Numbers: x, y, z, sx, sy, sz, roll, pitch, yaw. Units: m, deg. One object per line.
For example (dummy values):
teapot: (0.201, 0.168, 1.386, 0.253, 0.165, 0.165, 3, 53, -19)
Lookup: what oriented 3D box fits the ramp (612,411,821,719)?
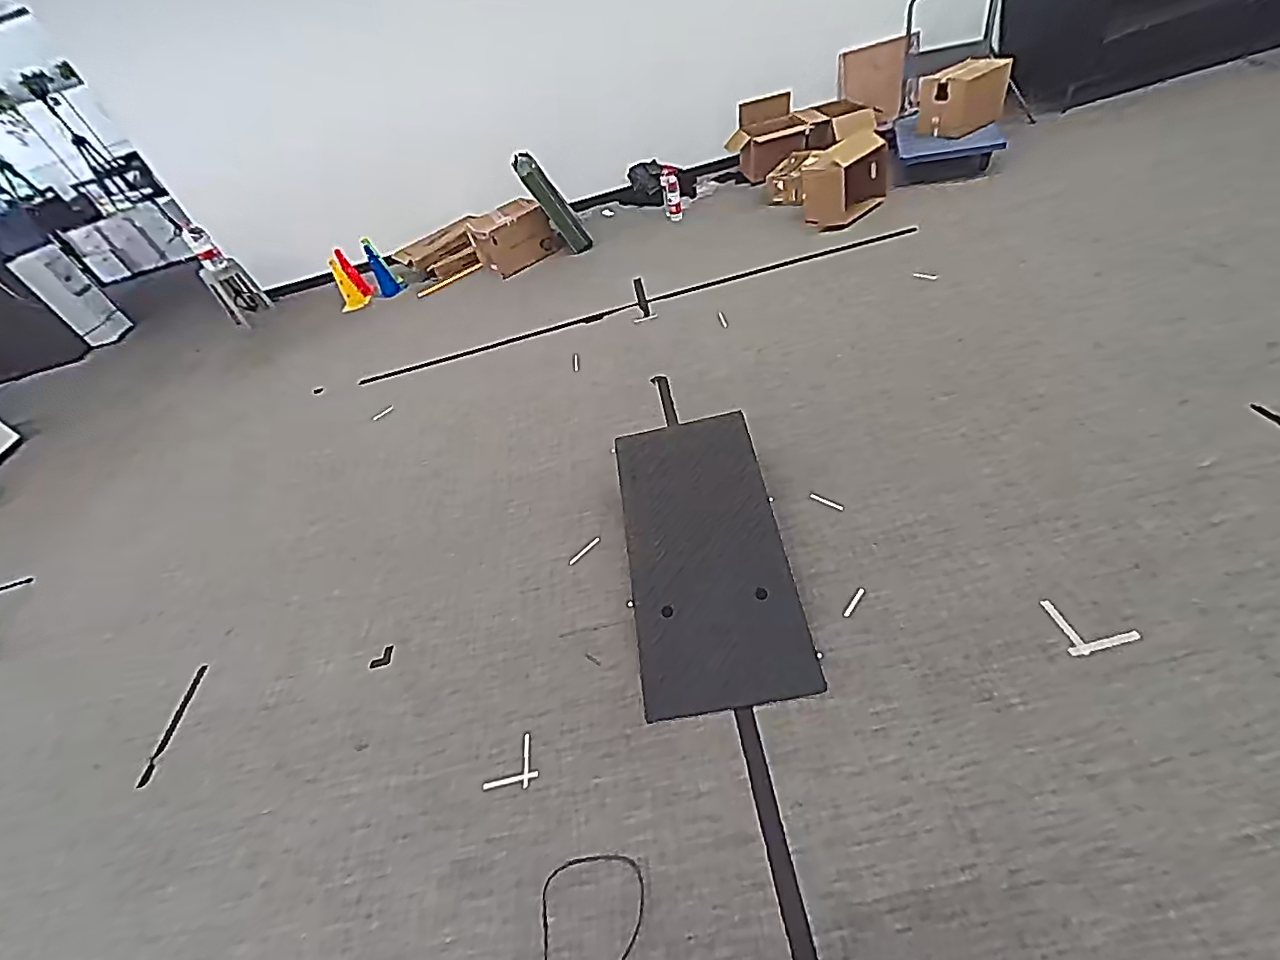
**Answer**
ramp: (0.191, 0.201, 1.736, 0.509, 0.206, 0.991, -13, 44, 4)
